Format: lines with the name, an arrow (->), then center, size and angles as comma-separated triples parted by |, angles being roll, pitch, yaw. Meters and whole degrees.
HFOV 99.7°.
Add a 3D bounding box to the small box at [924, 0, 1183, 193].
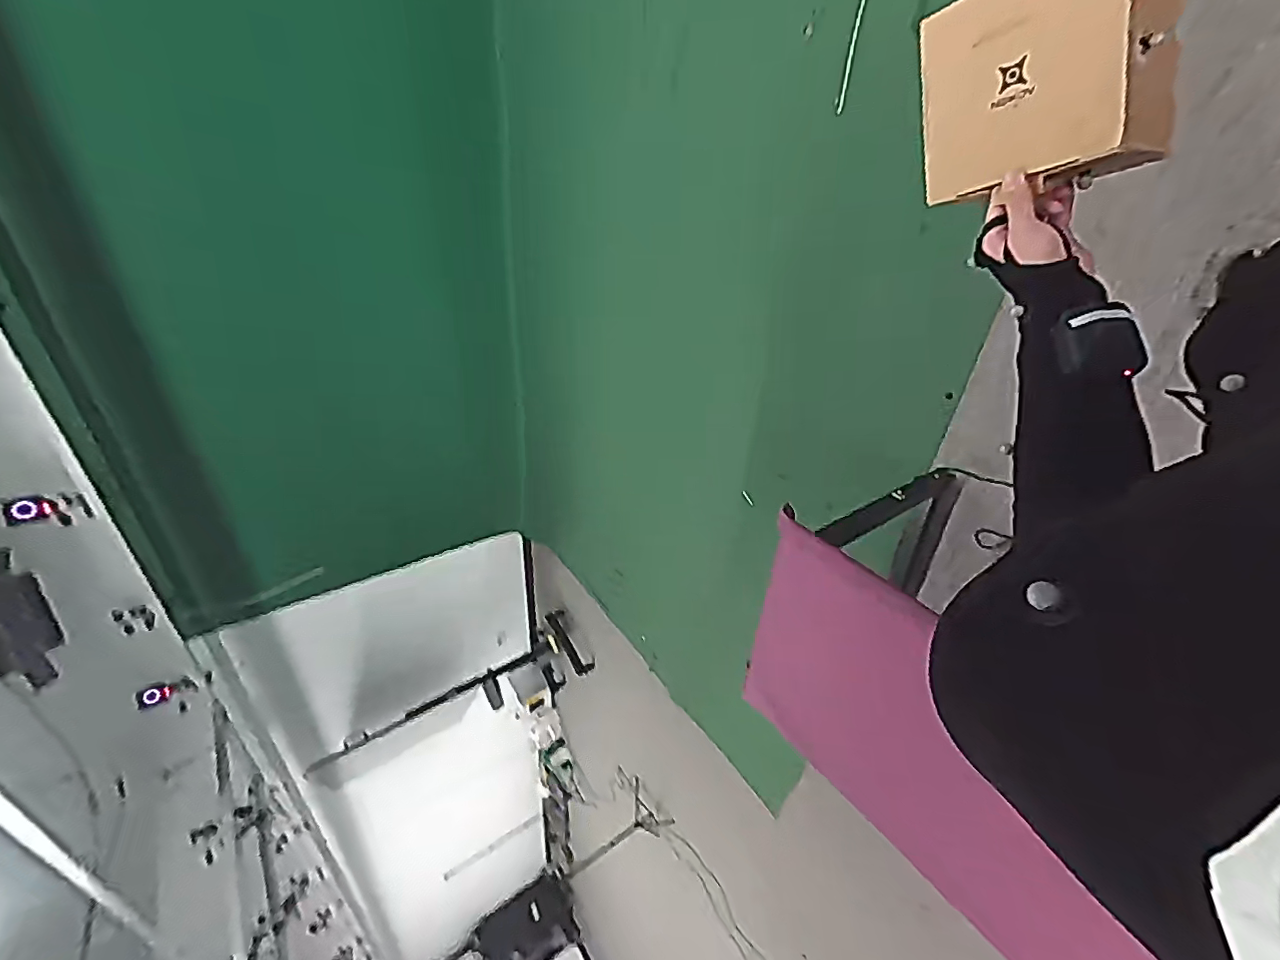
small box -> 0.408, -0.404, 0.540 | 0.168, 0.176, 0.179 | 12, 116, 52
